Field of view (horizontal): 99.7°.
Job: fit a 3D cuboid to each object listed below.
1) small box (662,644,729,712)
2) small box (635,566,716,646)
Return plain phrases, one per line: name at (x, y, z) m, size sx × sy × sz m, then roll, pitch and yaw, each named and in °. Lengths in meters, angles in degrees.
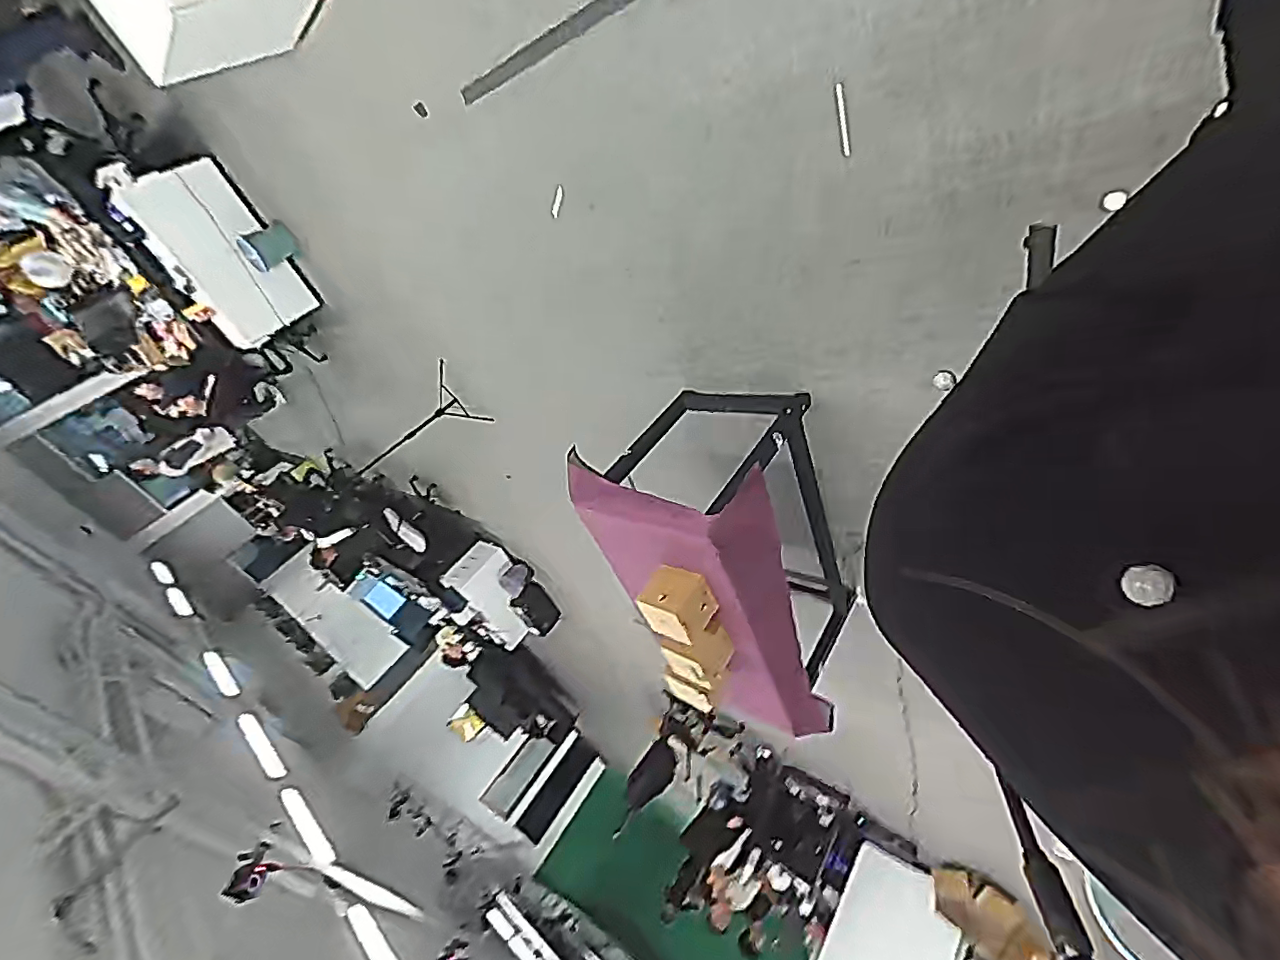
small box at (0.222, 0.769, 2.128) m, size 0.179 × 0.176 × 0.168 m, roll 10°, pitch 138°, yaw 42°
small box at (0.121, 0.408, 1.783) m, size 0.179 × 0.176 × 0.168 m, roll 9°, pitch 136°, yaw 43°
